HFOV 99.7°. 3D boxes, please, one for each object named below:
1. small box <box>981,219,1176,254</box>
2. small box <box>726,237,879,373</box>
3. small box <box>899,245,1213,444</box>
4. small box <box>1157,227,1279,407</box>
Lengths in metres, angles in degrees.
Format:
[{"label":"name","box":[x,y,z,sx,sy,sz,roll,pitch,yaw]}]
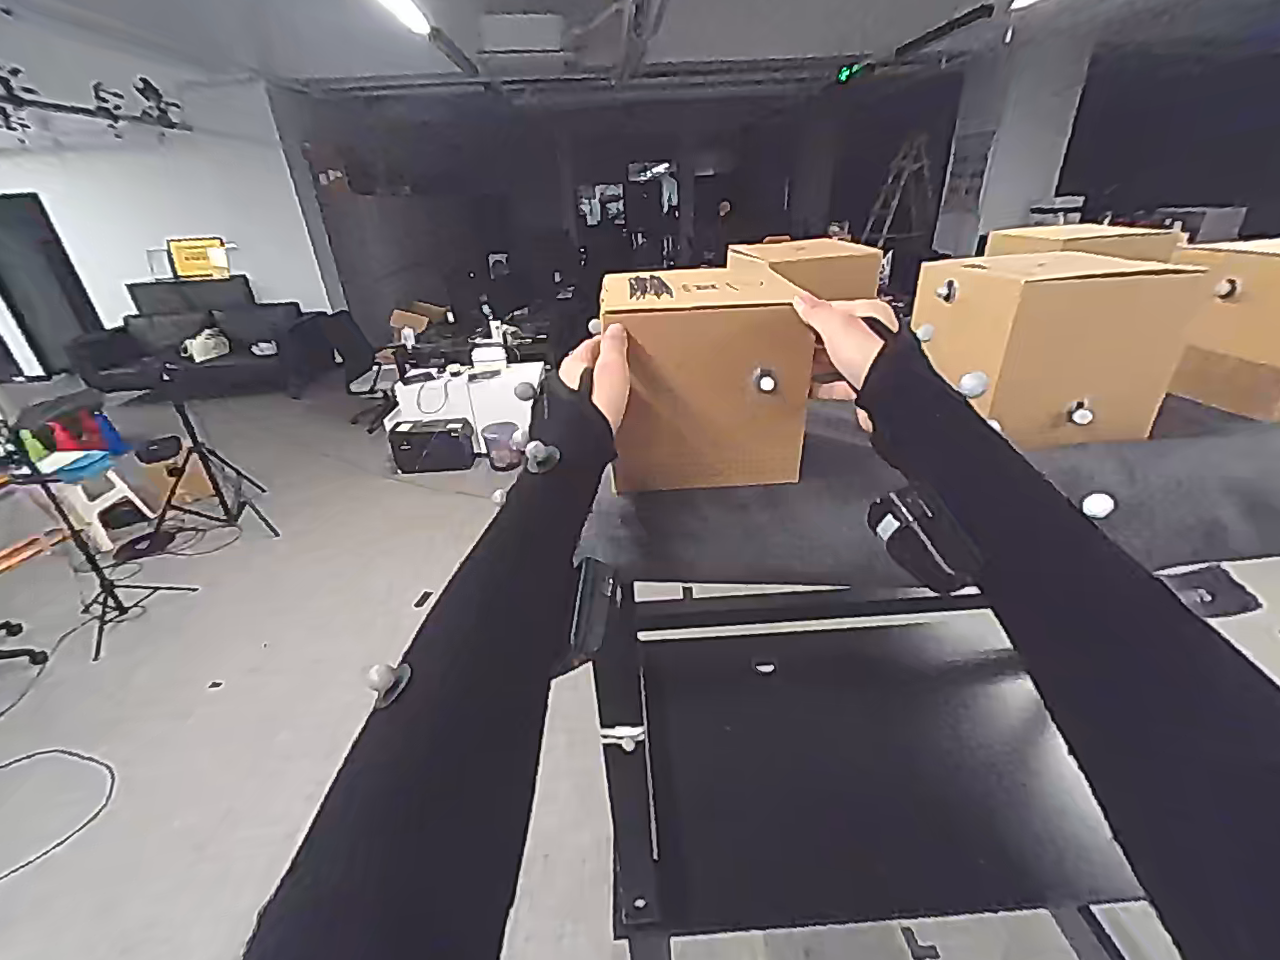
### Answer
[{"label":"small box","box":[0.661,-0.312,0.853,0.179,0.176,0.168,-4,28,-2]},{"label":"small box","box":[0.231,-0.269,0.820,0.168,0.176,0.179,-8,28,-7]},{"label":"small box","box":[0.402,-0.145,0.564,0.179,0.176,0.168,-4,26,-3]},{"label":"small box","box":[0.722,-0.183,0.602,0.168,0.176,0.179,-6,27,-3]}]
